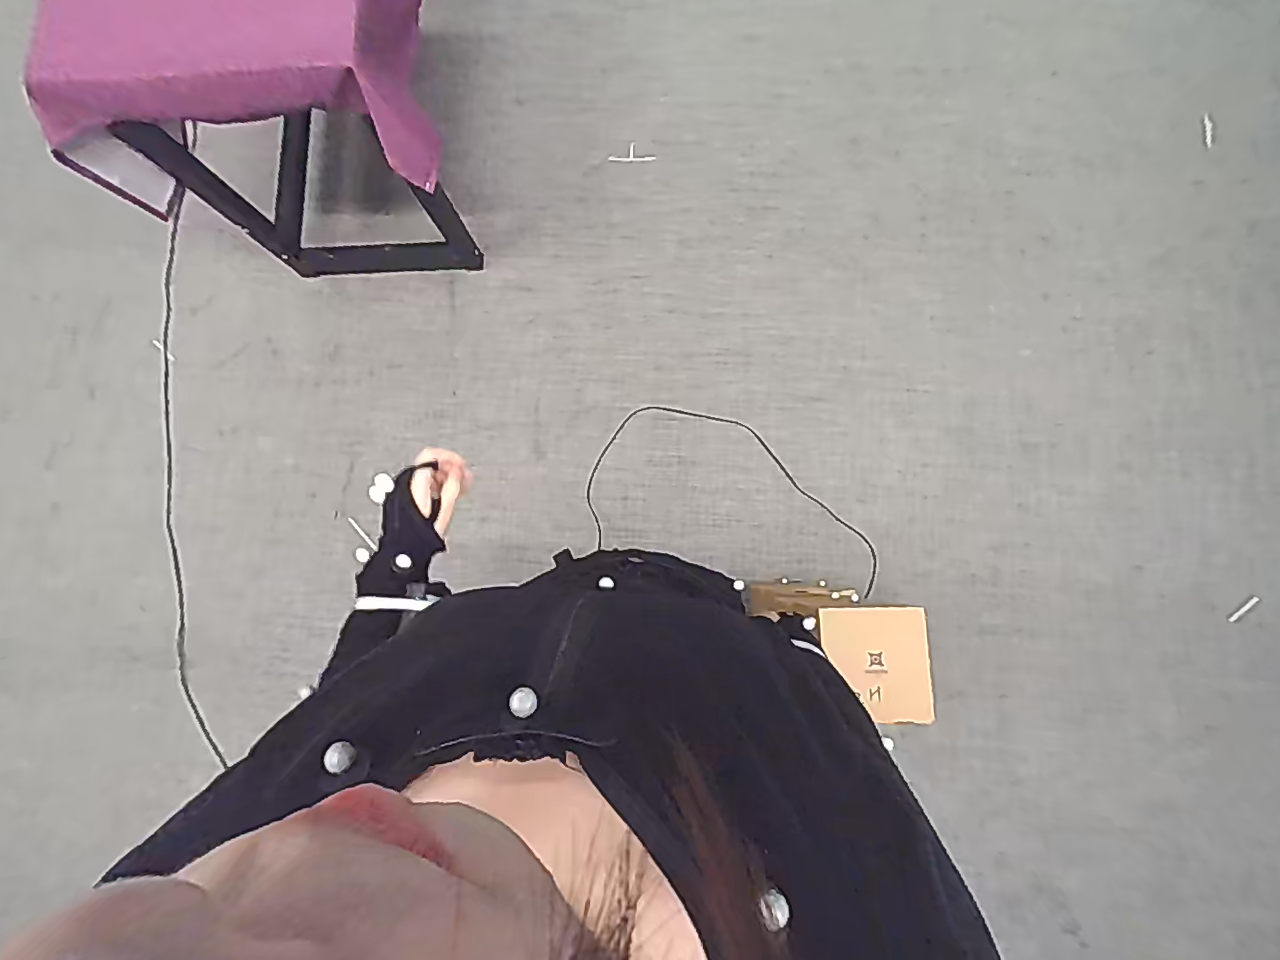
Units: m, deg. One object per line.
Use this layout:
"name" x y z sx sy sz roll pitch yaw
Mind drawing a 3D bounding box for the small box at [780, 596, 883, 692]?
"small box" 0.381 0.321 1.076 0.179 0.176 0.168 -1 82 2

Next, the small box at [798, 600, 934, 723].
"small box" 0.369 0.295 0.914 0.168 0.176 0.179 0 82 3

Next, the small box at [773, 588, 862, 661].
"small box" 0.403 0.338 1.238 0.168 0.176 0.179 -1 83 3
